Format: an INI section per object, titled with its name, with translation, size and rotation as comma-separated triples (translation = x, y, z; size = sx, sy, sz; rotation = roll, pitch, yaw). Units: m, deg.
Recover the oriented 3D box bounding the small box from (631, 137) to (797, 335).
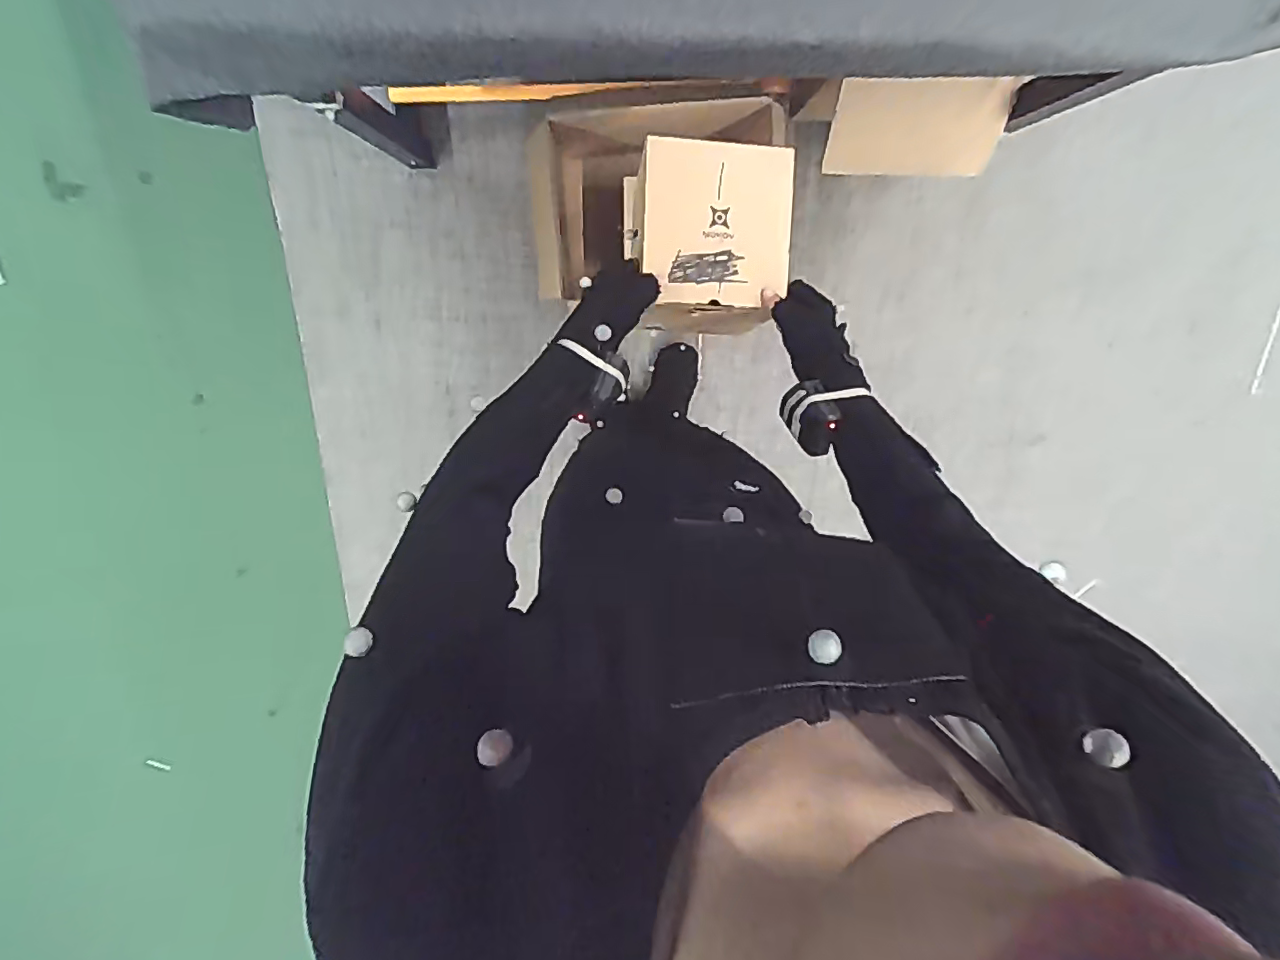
[small box]
translation = 0.078, -0.281, 0.664
size = 0.168, 0.176, 0.179
rotation = 1, 95, -6
